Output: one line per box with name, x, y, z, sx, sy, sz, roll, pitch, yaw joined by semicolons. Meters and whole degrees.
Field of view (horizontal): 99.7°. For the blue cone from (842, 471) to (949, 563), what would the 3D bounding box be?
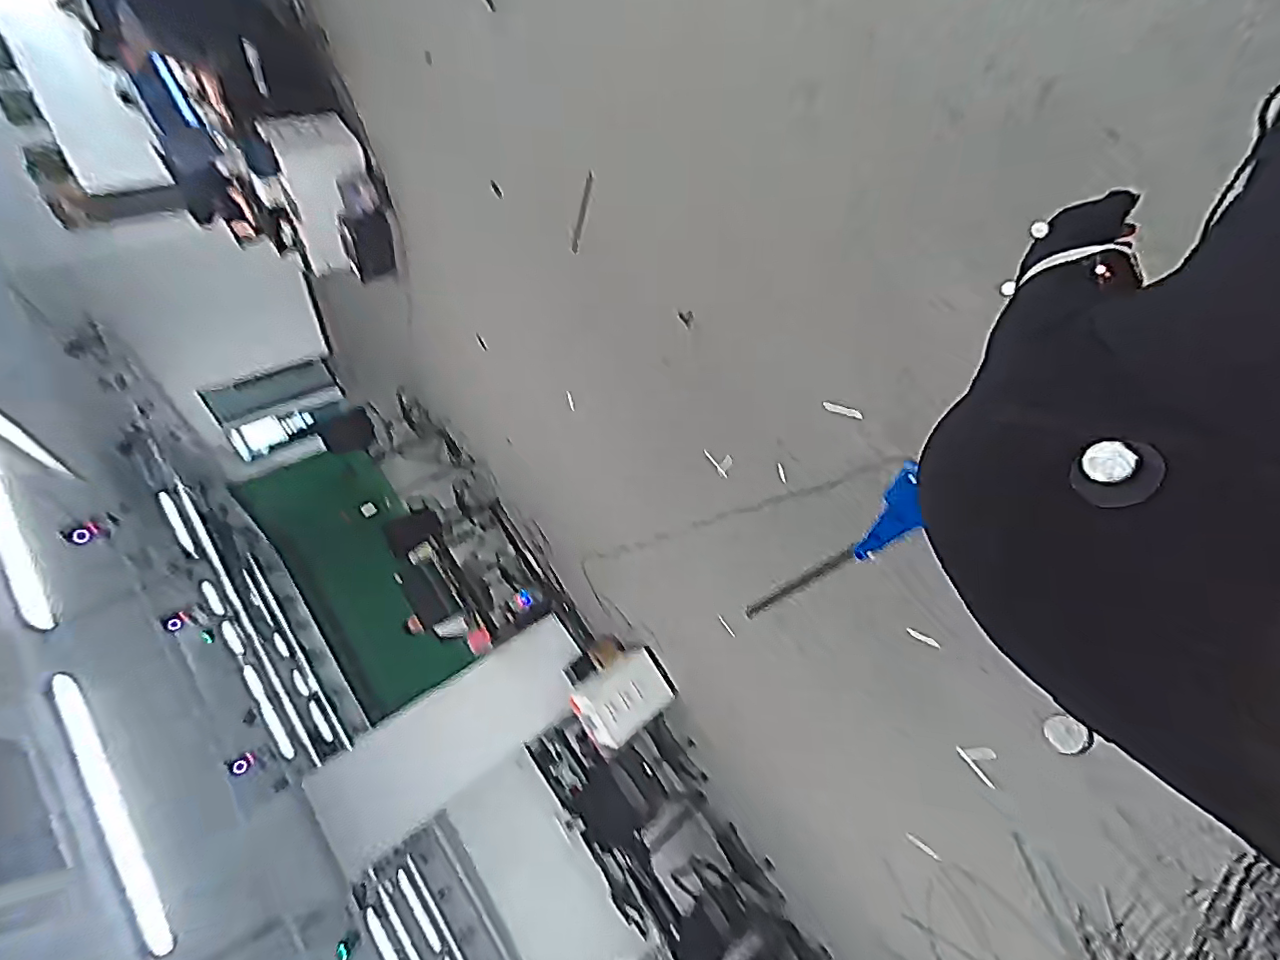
blue cone;0.735;0.150;1.638;0.193;0.380;0.192;44;147;28
